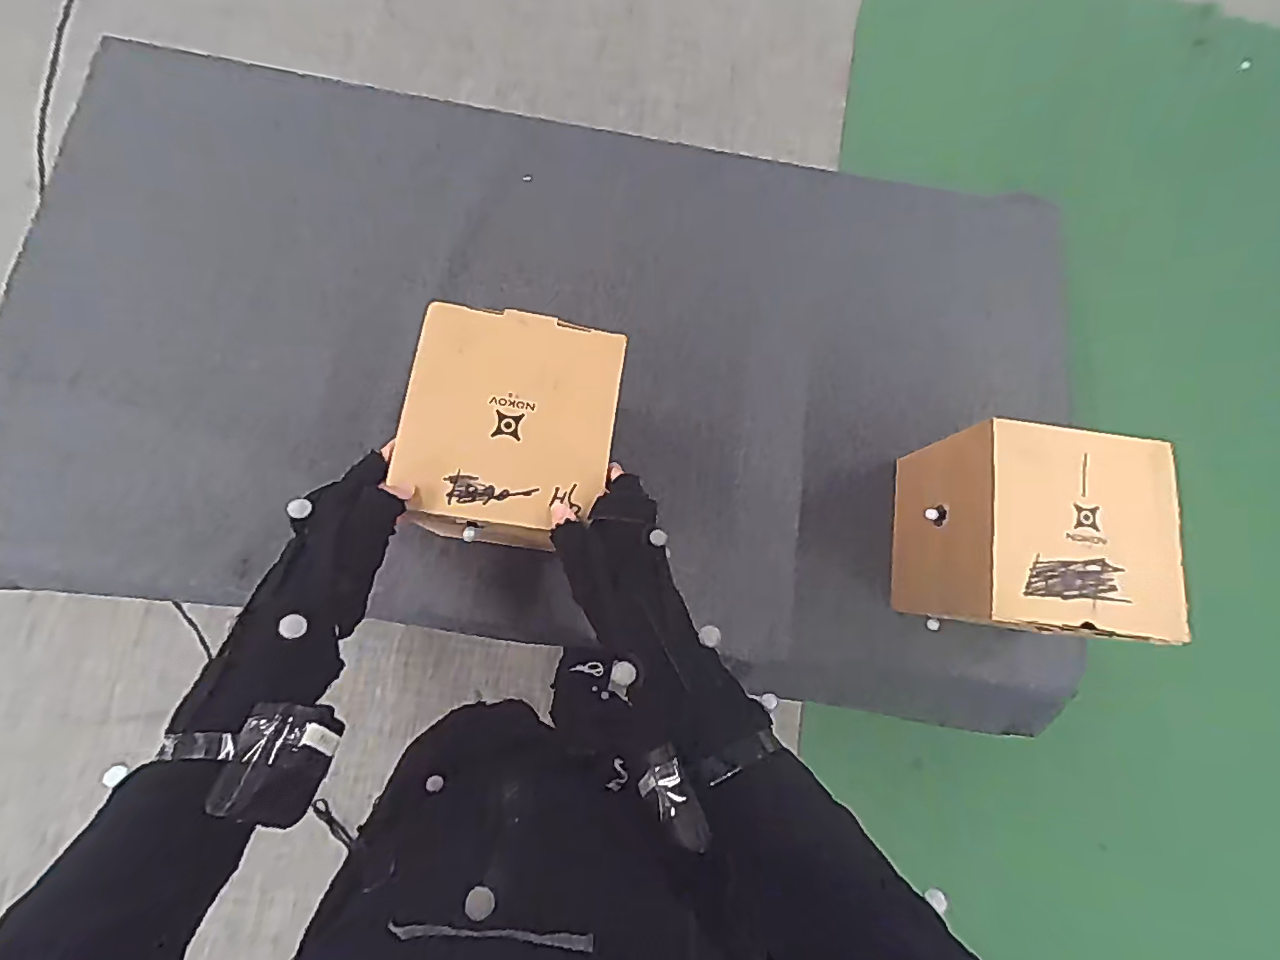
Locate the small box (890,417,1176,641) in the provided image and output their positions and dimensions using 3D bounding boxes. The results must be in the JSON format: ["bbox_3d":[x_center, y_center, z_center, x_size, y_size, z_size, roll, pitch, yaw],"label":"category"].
[{"bbox_3d":[0.371,0.055,0.542,0.168,0.176,0.179,8,78,-1],"label":"small box"}]

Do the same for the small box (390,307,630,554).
[{"bbox_3d":[-0.110,-0.032,0.516,0.168,0.176,0.179,9,77,-5],"label":"small box"}]
